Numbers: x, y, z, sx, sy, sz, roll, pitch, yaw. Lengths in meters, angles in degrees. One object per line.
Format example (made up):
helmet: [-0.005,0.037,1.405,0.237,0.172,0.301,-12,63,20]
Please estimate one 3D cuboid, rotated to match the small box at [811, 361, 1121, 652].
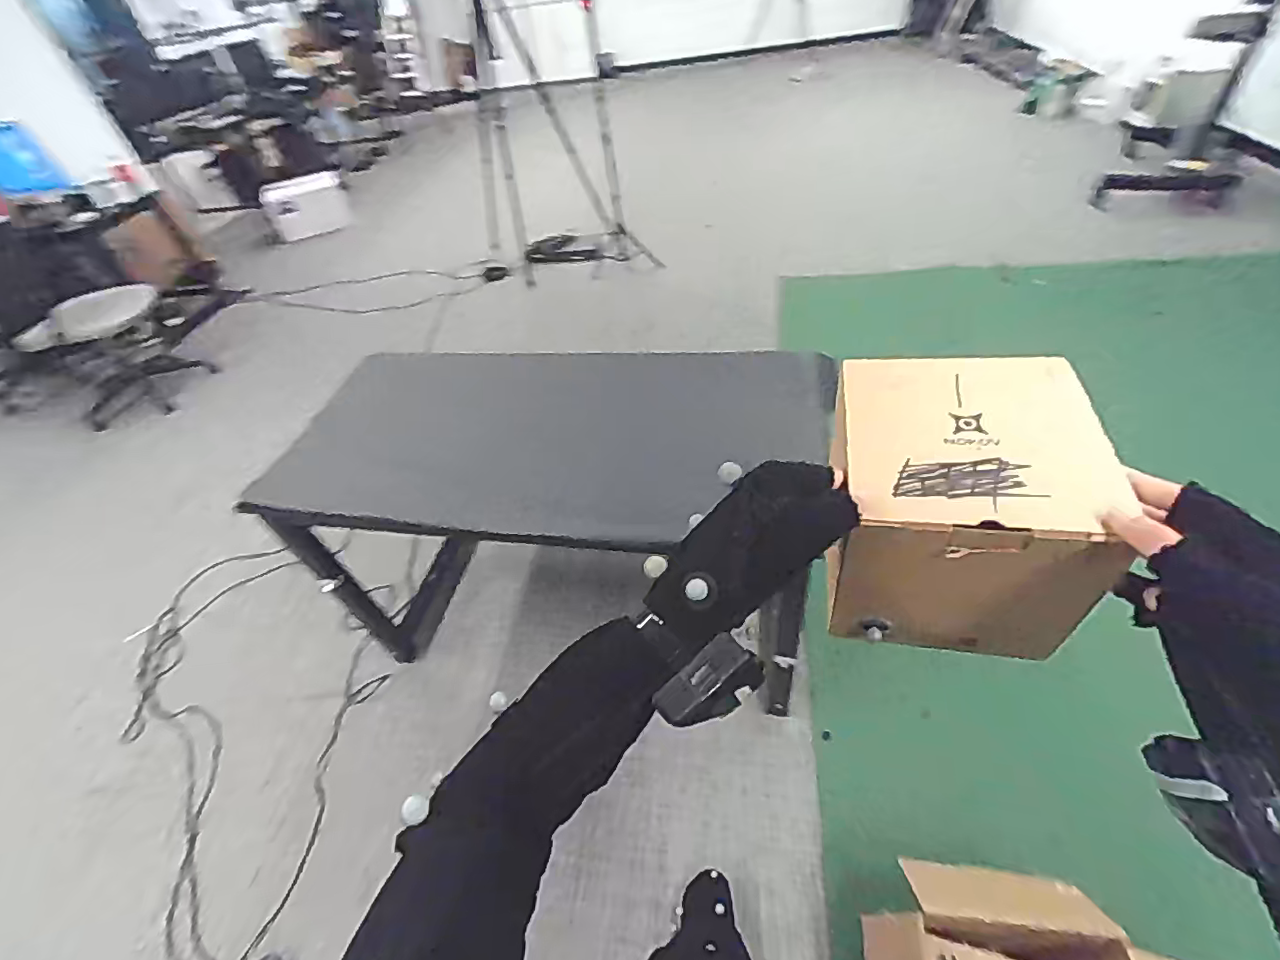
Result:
small box: [0.234,0.023,0.447,0.168,0.176,0.179,2,48,14]
